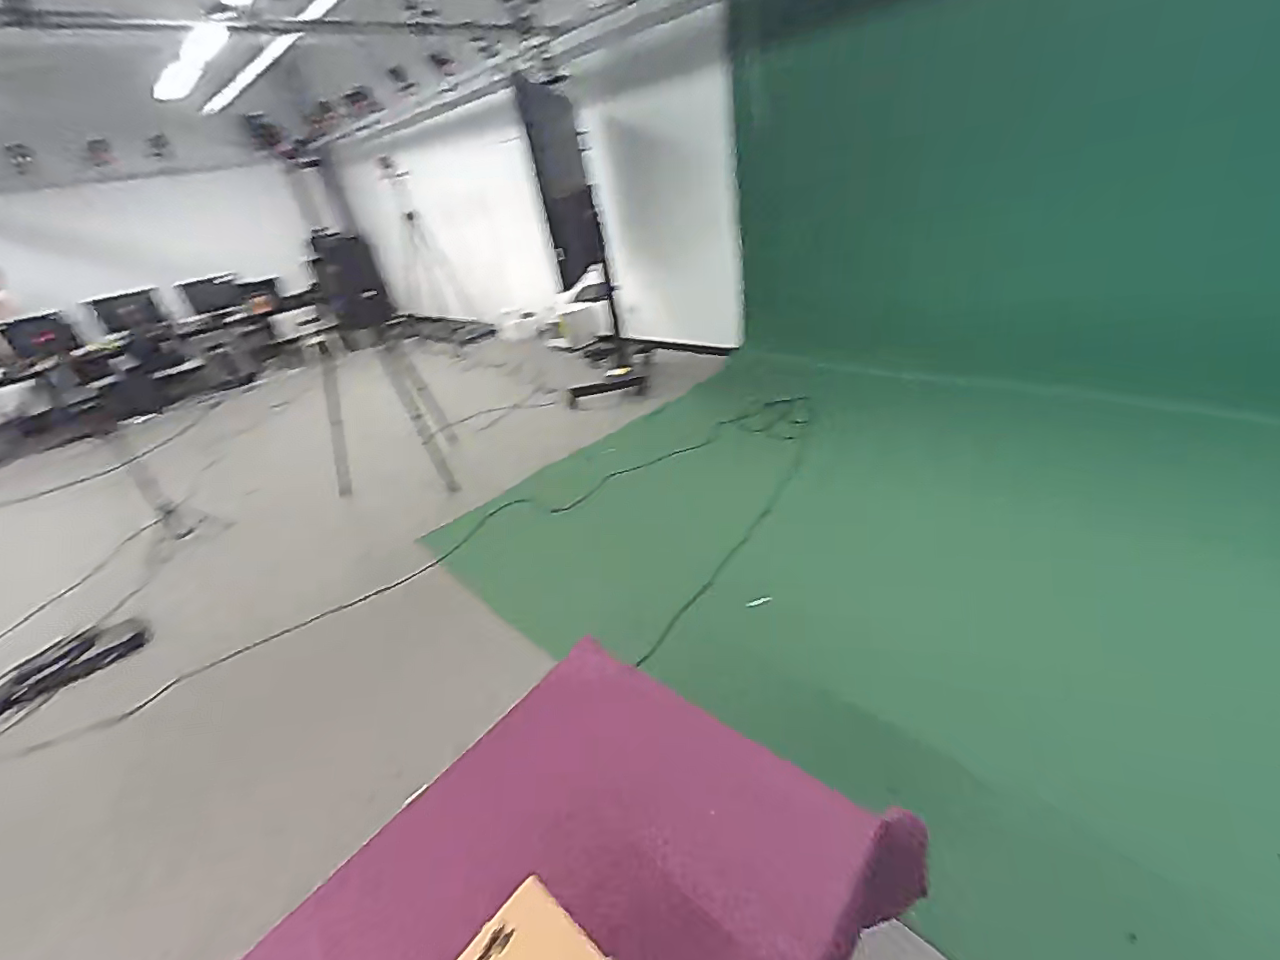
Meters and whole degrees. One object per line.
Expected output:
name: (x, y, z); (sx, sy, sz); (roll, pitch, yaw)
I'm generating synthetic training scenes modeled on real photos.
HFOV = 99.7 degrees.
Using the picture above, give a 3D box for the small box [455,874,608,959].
small box: (-0.101, 0.571, 0.554); (0.179, 0.176, 0.168); (19, 40, 39)
